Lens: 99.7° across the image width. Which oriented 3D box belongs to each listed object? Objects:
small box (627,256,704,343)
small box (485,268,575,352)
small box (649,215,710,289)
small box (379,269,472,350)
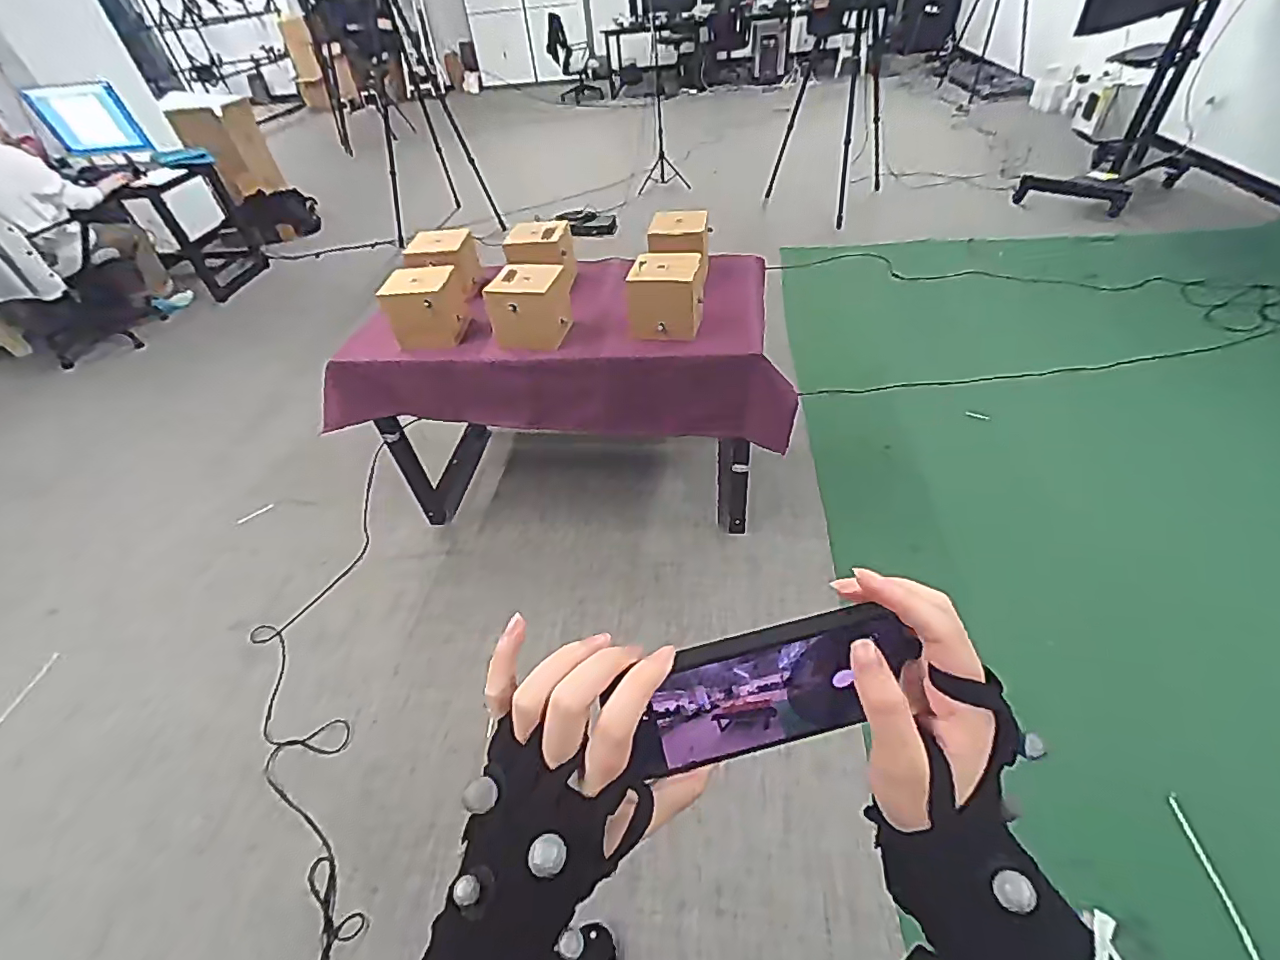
[{"bbox_3d":[0.075,-0.486,1.461,0.179,0.176,0.168,6,45,13],"label":"small box"},{"bbox_3d":[-0.295,-0.469,1.489,0.179,0.176,0.168,6,46,12],"label":"small box"},{"bbox_3d":[0.126,-0.706,1.679,0.168,0.176,0.179,3,46,11],"label":"small box"},{"bbox_3d":[-0.603,-0.484,1.544,0.179,0.176,0.168,-2,44,3],"label":"small box"}]
